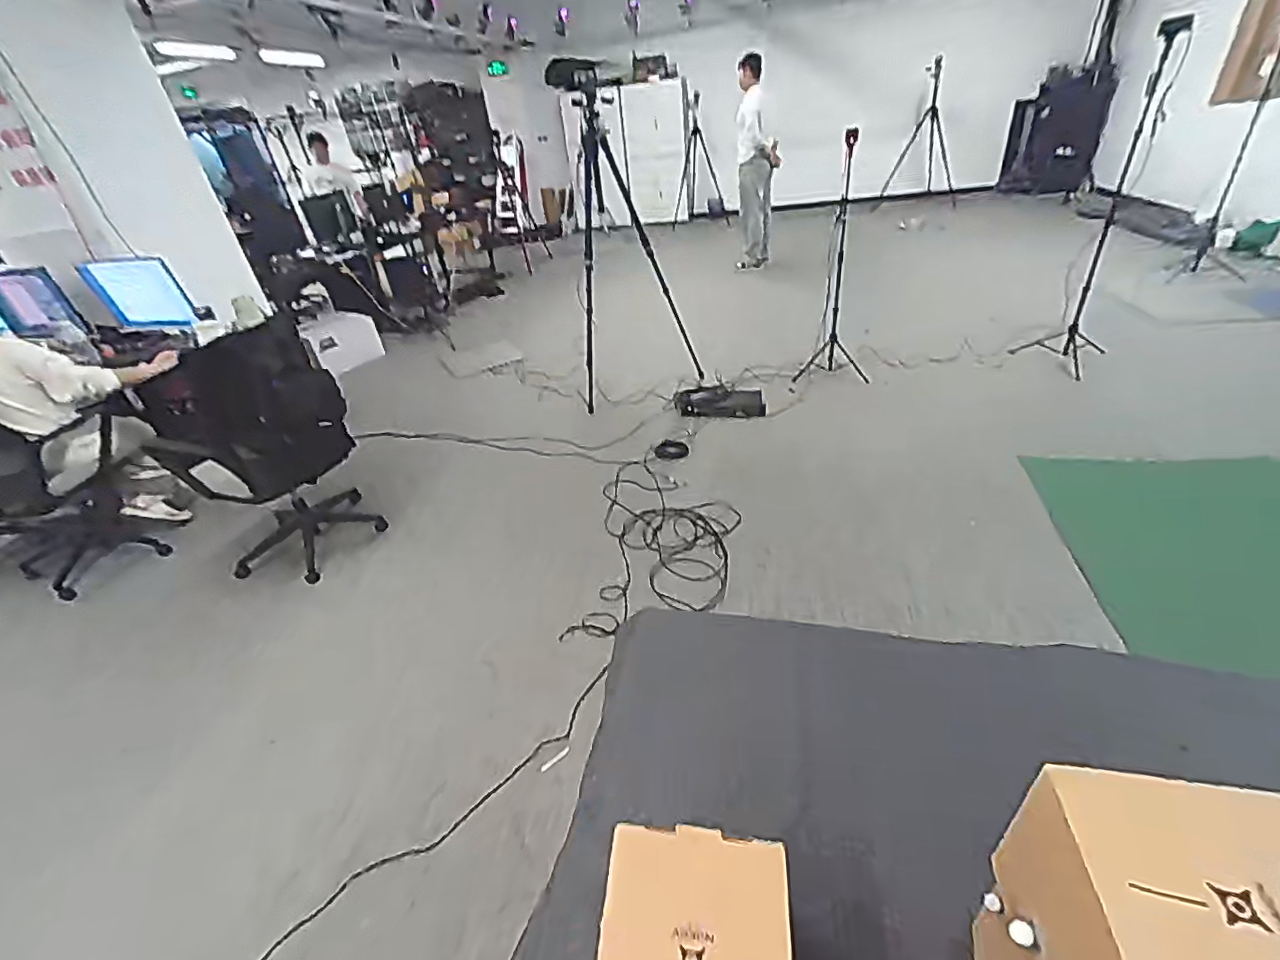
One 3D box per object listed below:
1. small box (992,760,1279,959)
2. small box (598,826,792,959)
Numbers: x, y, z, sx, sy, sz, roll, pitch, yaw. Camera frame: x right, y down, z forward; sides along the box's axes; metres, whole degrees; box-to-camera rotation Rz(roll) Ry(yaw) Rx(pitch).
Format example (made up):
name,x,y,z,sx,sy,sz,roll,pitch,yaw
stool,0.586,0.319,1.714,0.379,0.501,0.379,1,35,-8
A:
name,x,y,z,sx,sy,sz,roll,pitch,yaw
small box,0.382,0.332,0.376,0.179,0.176,0.168,2,34,15
small box,0.052,0.460,0.512,0.168,0.176,0.179,1,44,9
